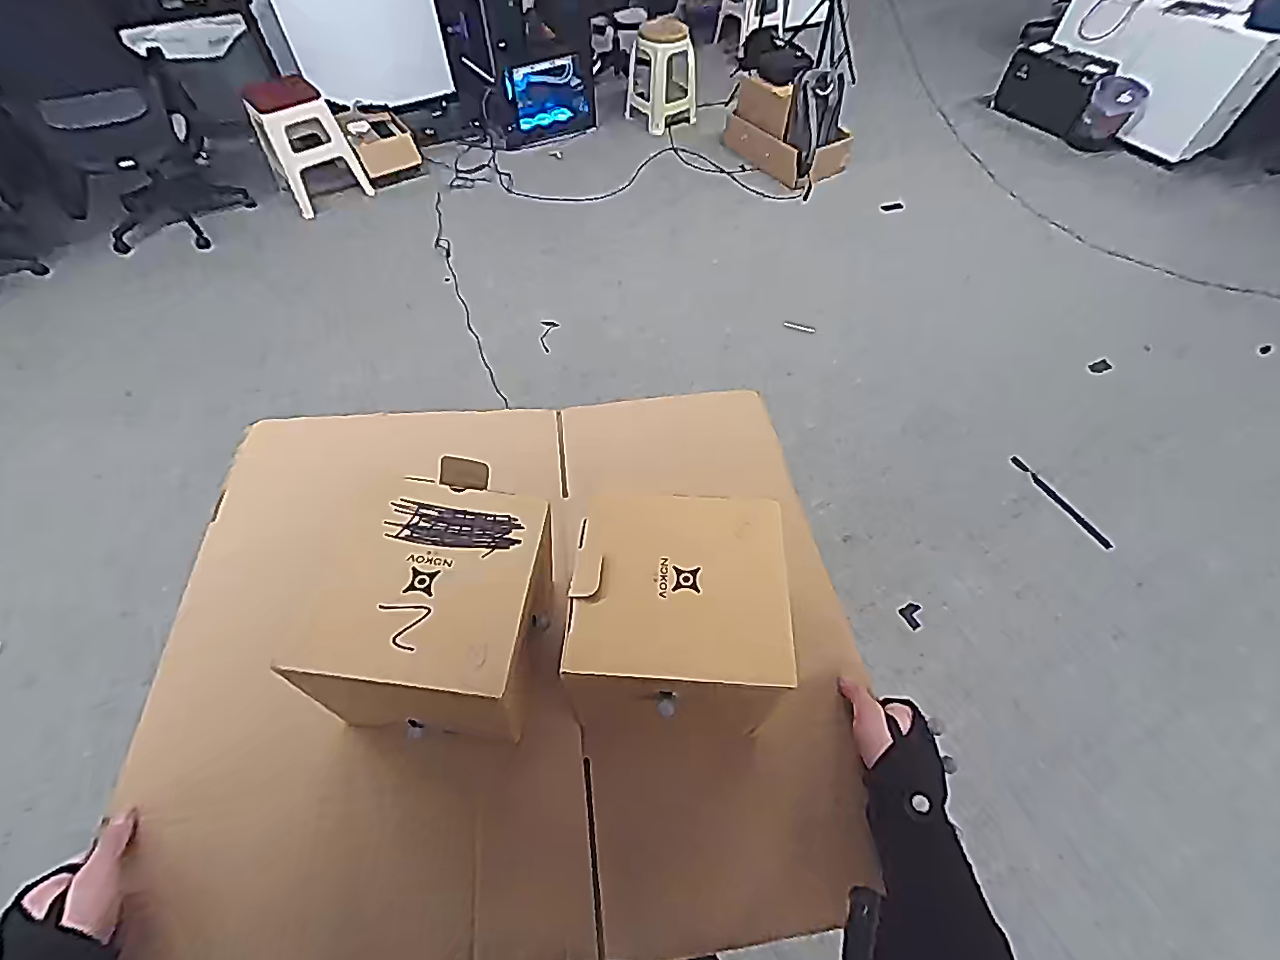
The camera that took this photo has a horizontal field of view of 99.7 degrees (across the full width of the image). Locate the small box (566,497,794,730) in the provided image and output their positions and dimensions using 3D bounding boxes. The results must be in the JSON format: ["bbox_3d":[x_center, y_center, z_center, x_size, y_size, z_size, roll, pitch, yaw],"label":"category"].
[{"bbox_3d":[0.036,0.133,0.518,0.179,0.176,0.168,2,54,3],"label":"small box"}]
